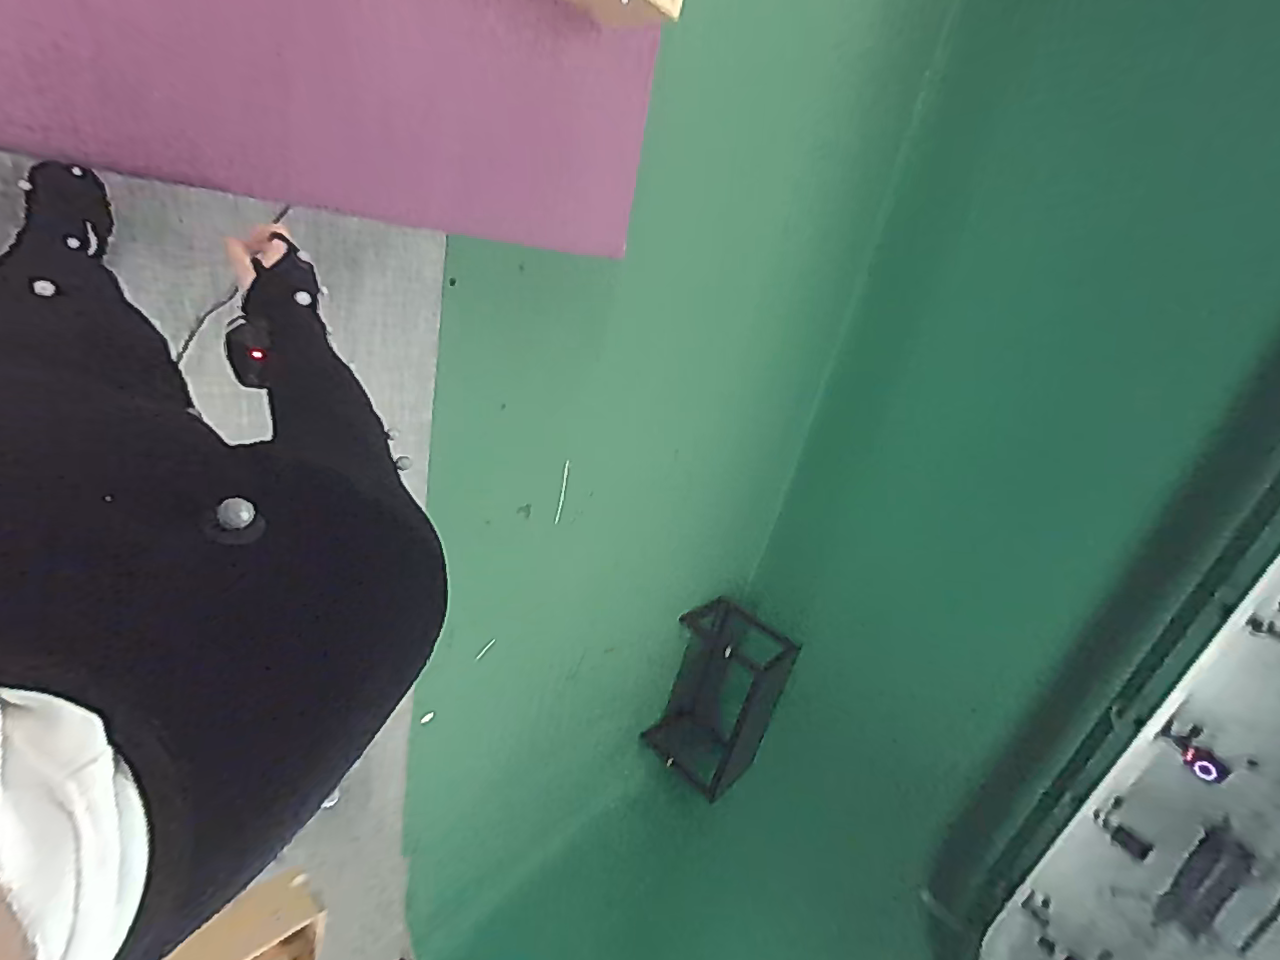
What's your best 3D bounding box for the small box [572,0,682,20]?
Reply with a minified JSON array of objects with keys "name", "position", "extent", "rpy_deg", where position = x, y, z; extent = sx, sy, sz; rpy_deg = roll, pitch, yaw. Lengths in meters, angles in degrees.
[{"name":"small box","position":[-0.034,-0.817,0.789],"extent":[0.168,0.176,0.179],"rpy_deg":[-13,123,-47]}]
